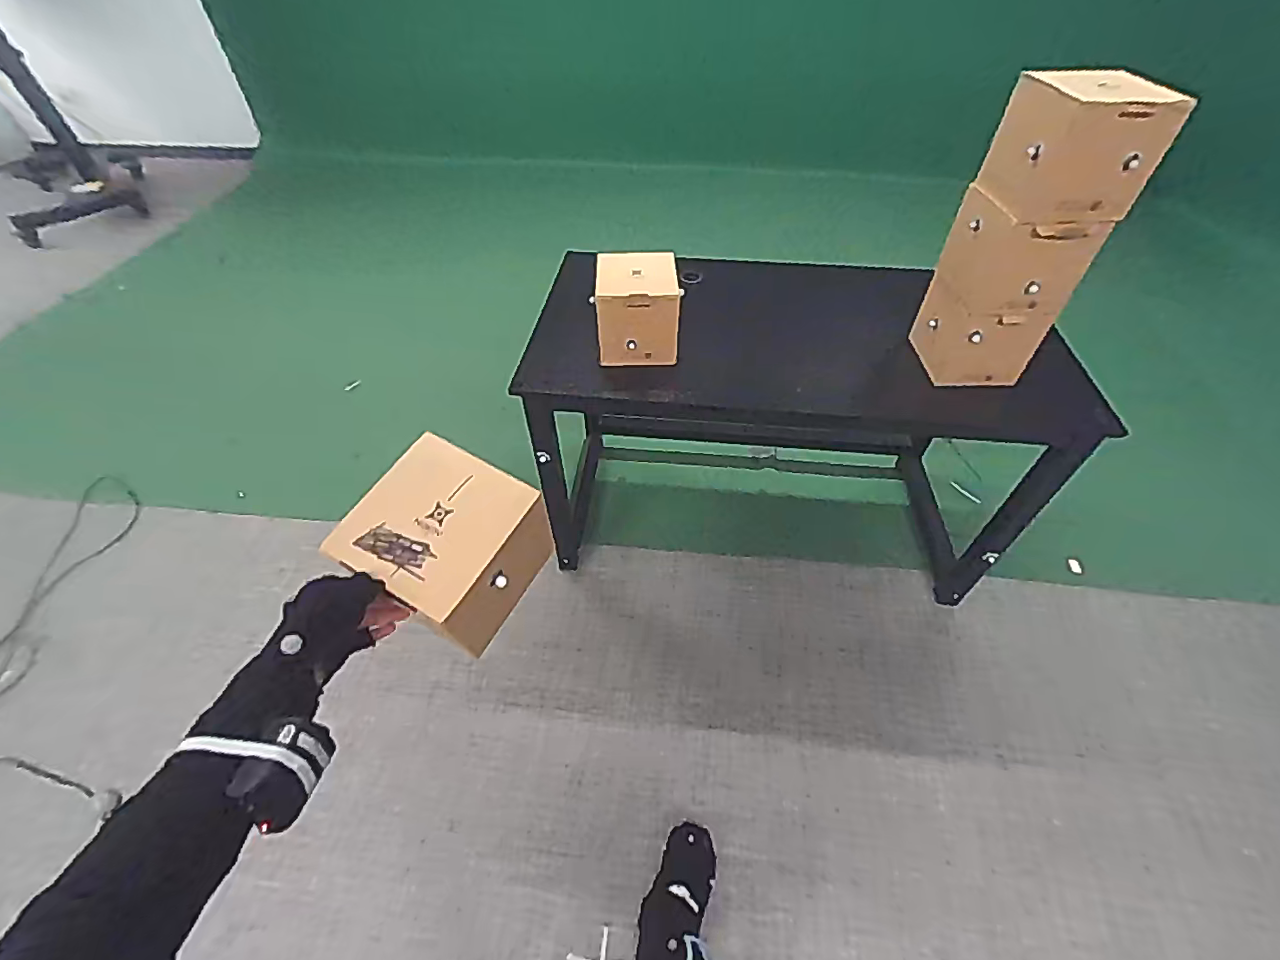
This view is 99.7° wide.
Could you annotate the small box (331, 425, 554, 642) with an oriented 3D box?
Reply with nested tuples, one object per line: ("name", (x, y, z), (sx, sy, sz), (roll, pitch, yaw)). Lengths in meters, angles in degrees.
("small box", (-0.220, 0.072, 0.660), (0.168, 0.176, 0.179), (27, 63, 12))

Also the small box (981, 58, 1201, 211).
("small box", (0.685, -0.539, 0.850), (0.168, 0.176, 0.179), (-1, 48, -1))

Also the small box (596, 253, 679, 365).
("small box", (-0.009, -0.368, 1.164), (0.168, 0.176, 0.179), (-1, 50, -2))

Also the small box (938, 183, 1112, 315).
("small box", (0.679, -0.421, 0.986), (0.168, 0.176, 0.179), (-2, 49, 0))
